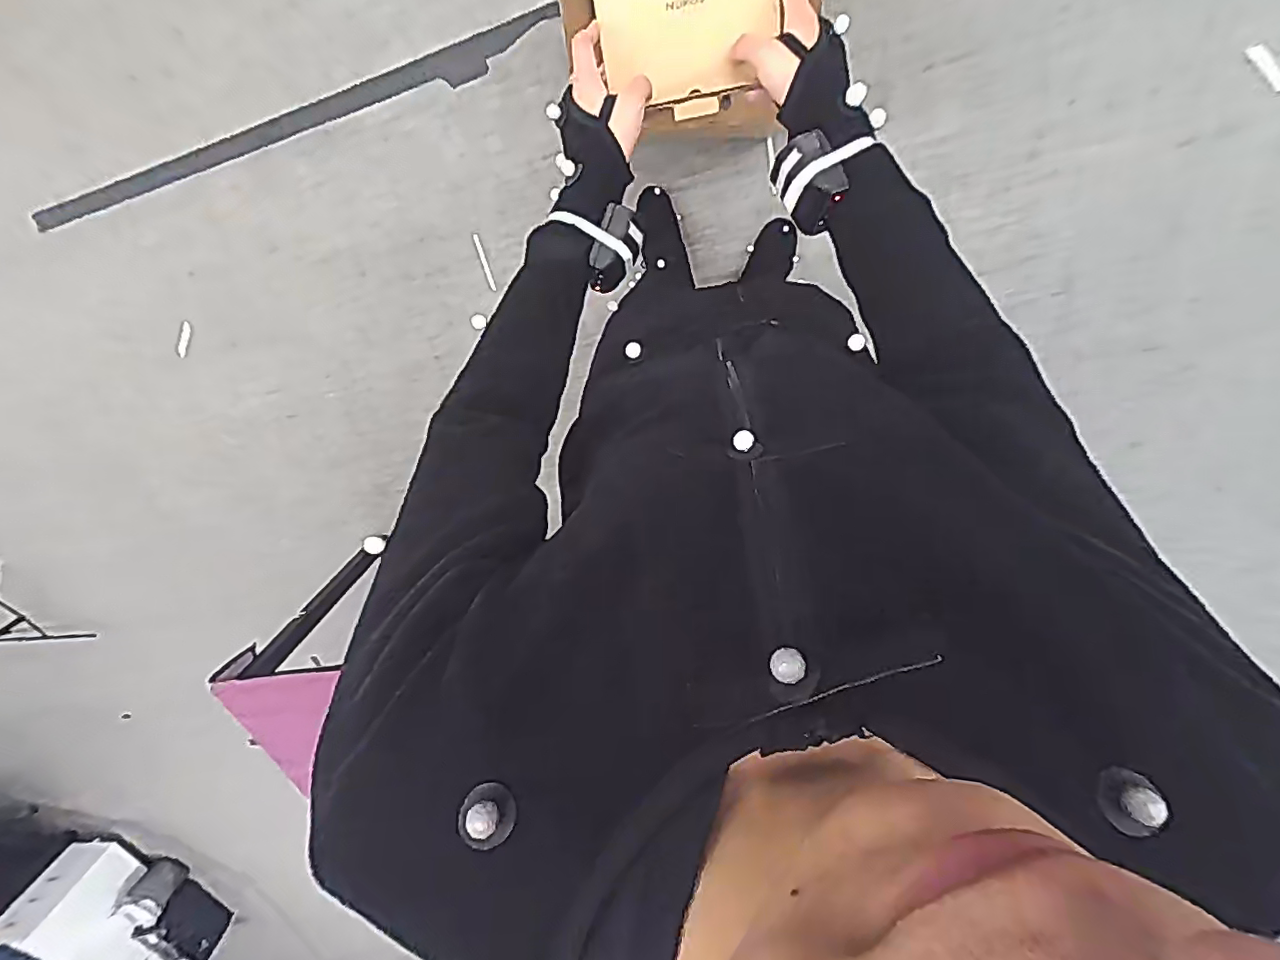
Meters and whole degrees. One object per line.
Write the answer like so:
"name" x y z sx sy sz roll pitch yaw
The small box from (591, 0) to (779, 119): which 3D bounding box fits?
"small box" 0.040 -0.478 0.533 0.168 0.176 0.179 -7 125 6
